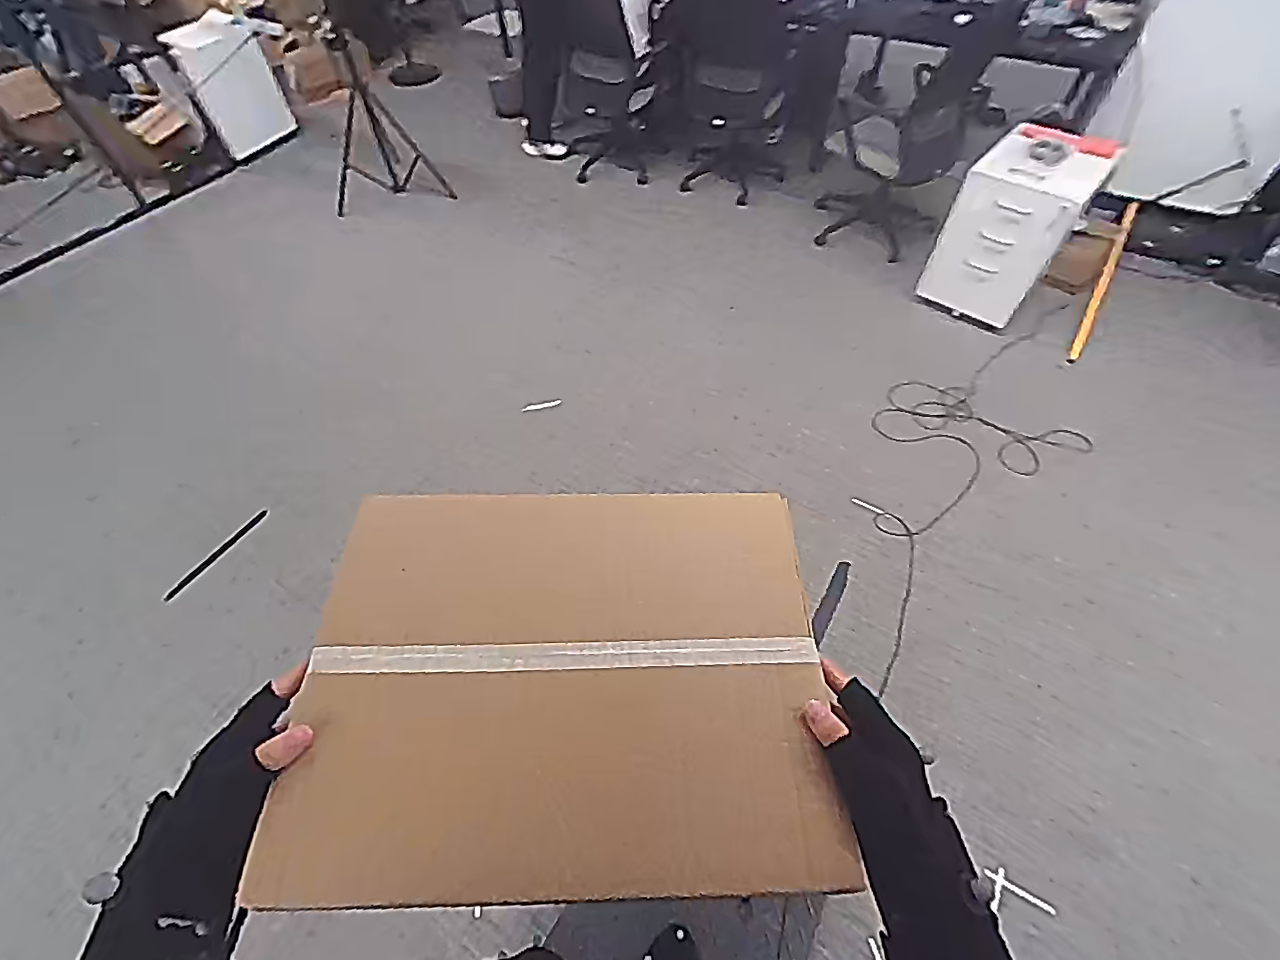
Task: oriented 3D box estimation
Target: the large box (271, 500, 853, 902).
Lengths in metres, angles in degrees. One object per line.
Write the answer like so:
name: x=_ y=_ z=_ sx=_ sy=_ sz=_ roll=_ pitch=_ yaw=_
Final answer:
large box: x=-0.054 y=0.232 z=0.571 sx=0.408 sy=0.320 sz=0.320 roll=0 pitch=55 yaw=-1
